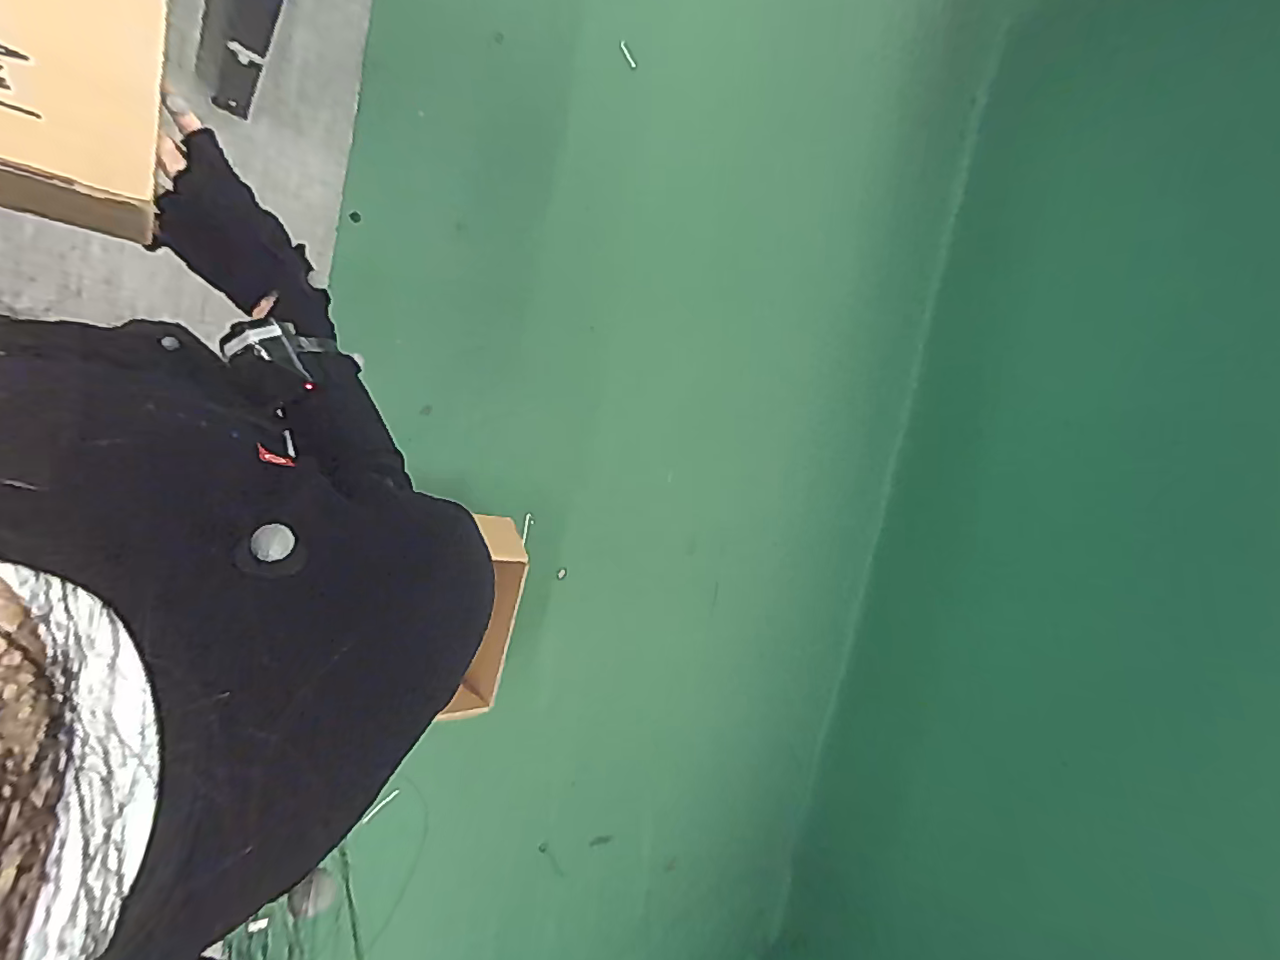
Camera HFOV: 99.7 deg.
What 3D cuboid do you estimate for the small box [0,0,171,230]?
[{"bbox_3d":[-0.383,-0.265,0.310,0.168,0.176,0.179,3,98,-44],"label":"small box"}]
